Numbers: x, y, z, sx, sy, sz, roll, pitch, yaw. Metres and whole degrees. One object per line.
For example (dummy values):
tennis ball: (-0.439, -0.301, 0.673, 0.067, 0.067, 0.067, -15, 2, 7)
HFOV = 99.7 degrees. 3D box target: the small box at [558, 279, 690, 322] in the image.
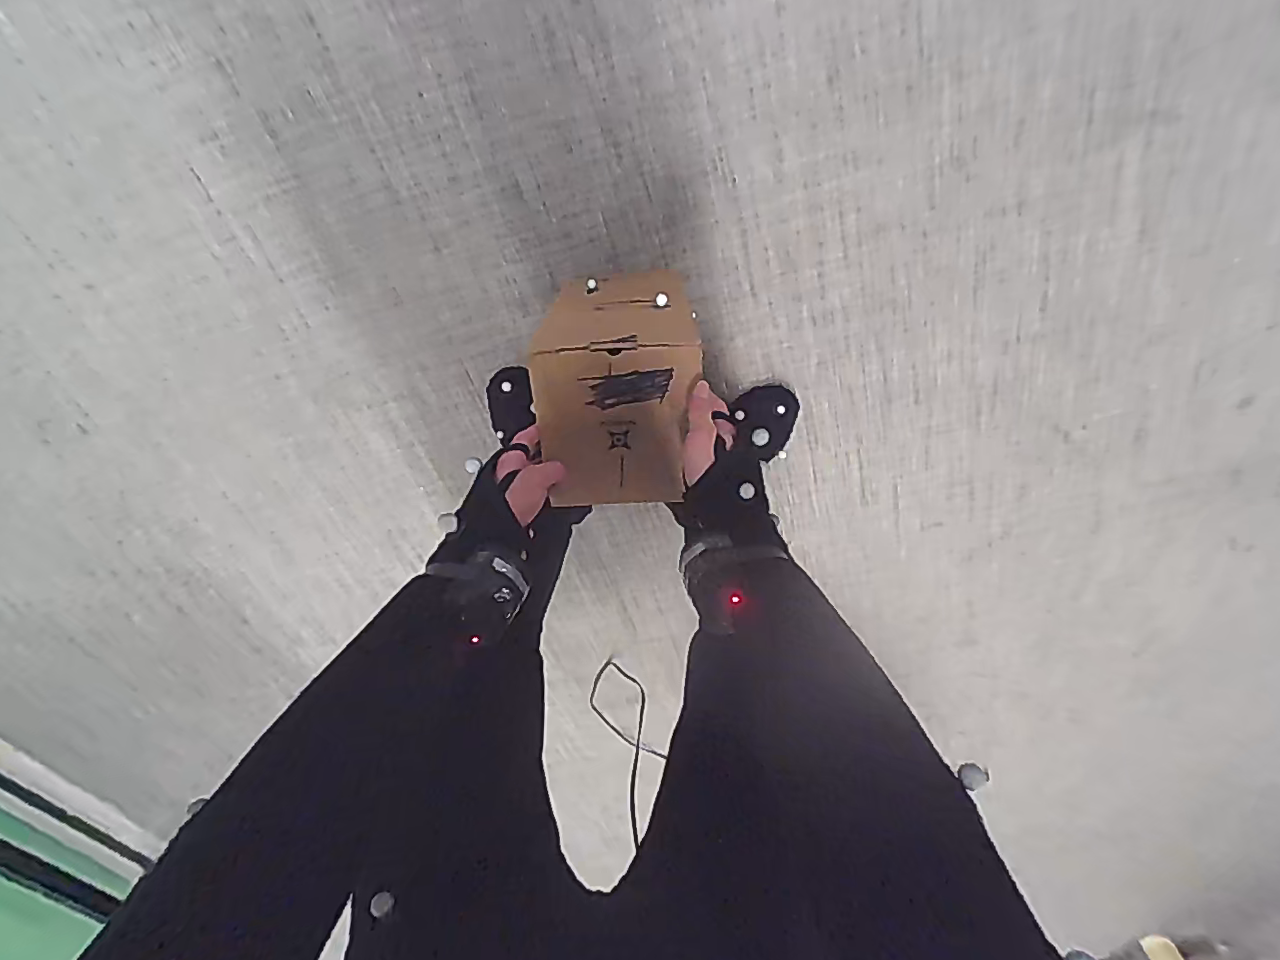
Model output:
small box: (-0.014, -0.180, 0.769, 0.168, 0.176, 0.179, -3, 124, 4)

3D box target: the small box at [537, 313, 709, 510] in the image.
small box: (-0.017, -0.085, 0.615, 0.168, 0.176, 0.179, -1, 123, 1)
